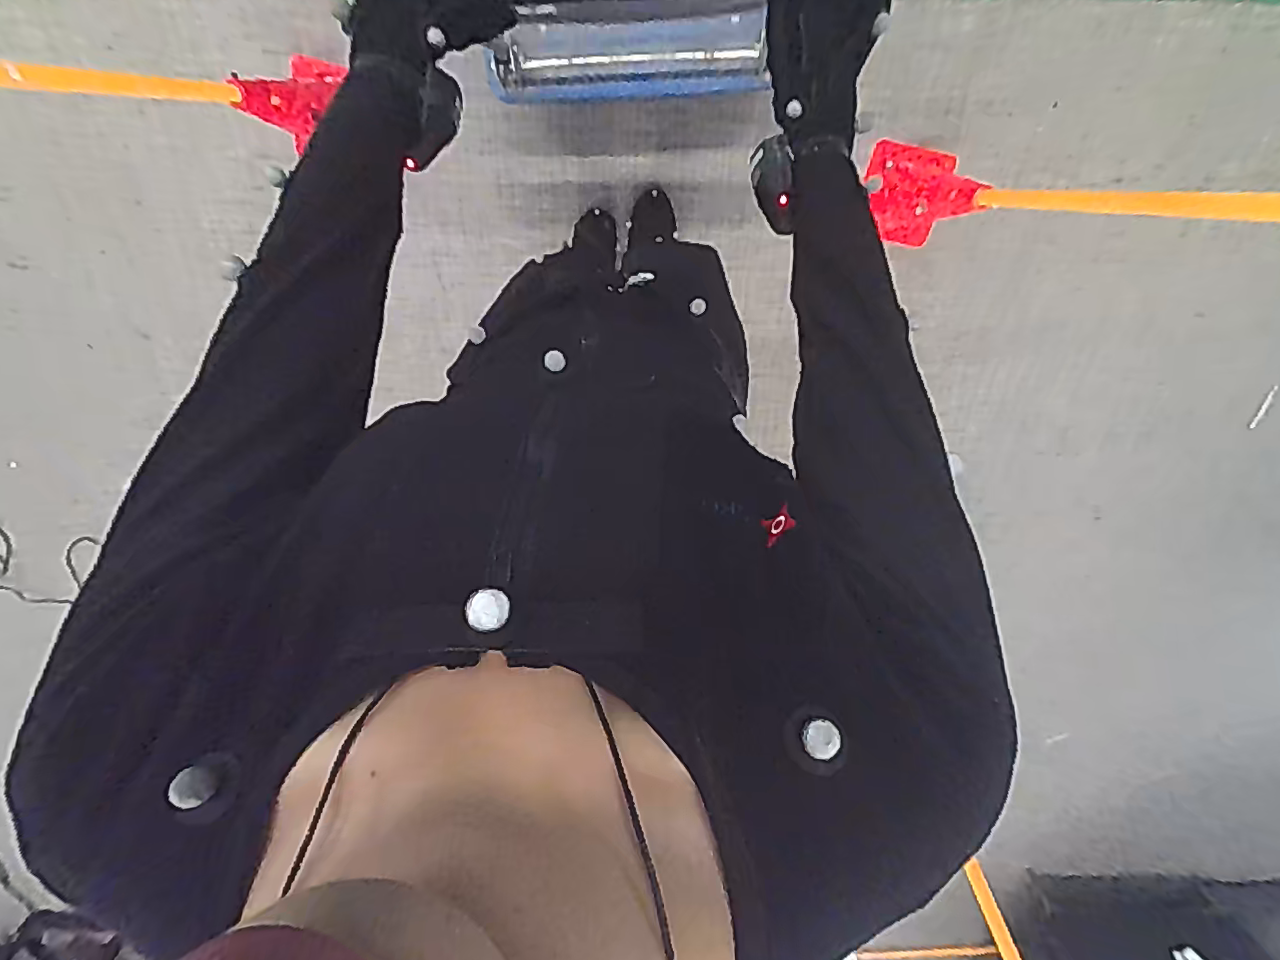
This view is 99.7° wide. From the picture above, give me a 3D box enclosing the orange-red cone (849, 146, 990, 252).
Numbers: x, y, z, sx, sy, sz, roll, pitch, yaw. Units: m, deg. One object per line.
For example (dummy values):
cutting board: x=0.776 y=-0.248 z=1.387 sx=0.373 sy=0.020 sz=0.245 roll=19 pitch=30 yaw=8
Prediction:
orange-red cone: x=0.609 y=-0.573 z=1.117 sx=0.198 sy=0.360 sz=0.199 roll=11 pitch=118 yaw=-5
